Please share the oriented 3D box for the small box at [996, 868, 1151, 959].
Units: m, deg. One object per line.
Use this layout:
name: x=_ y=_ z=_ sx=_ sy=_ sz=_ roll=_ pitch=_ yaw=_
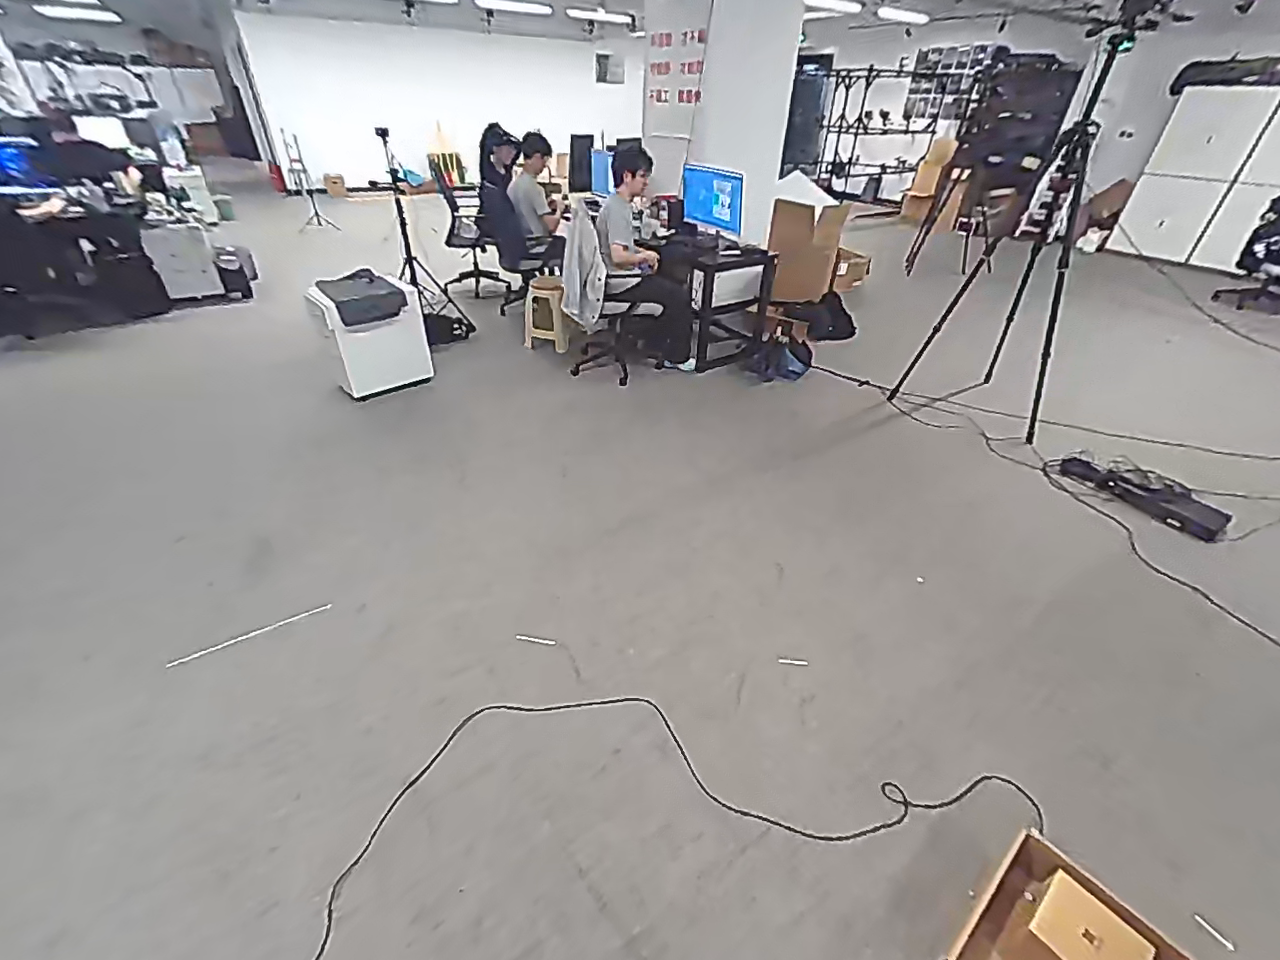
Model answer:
small box: x=0.887 y=0.972 z=1.122 sx=0.168 sy=0.176 sz=0.179 roll=-25 pitch=45 yaw=-30
